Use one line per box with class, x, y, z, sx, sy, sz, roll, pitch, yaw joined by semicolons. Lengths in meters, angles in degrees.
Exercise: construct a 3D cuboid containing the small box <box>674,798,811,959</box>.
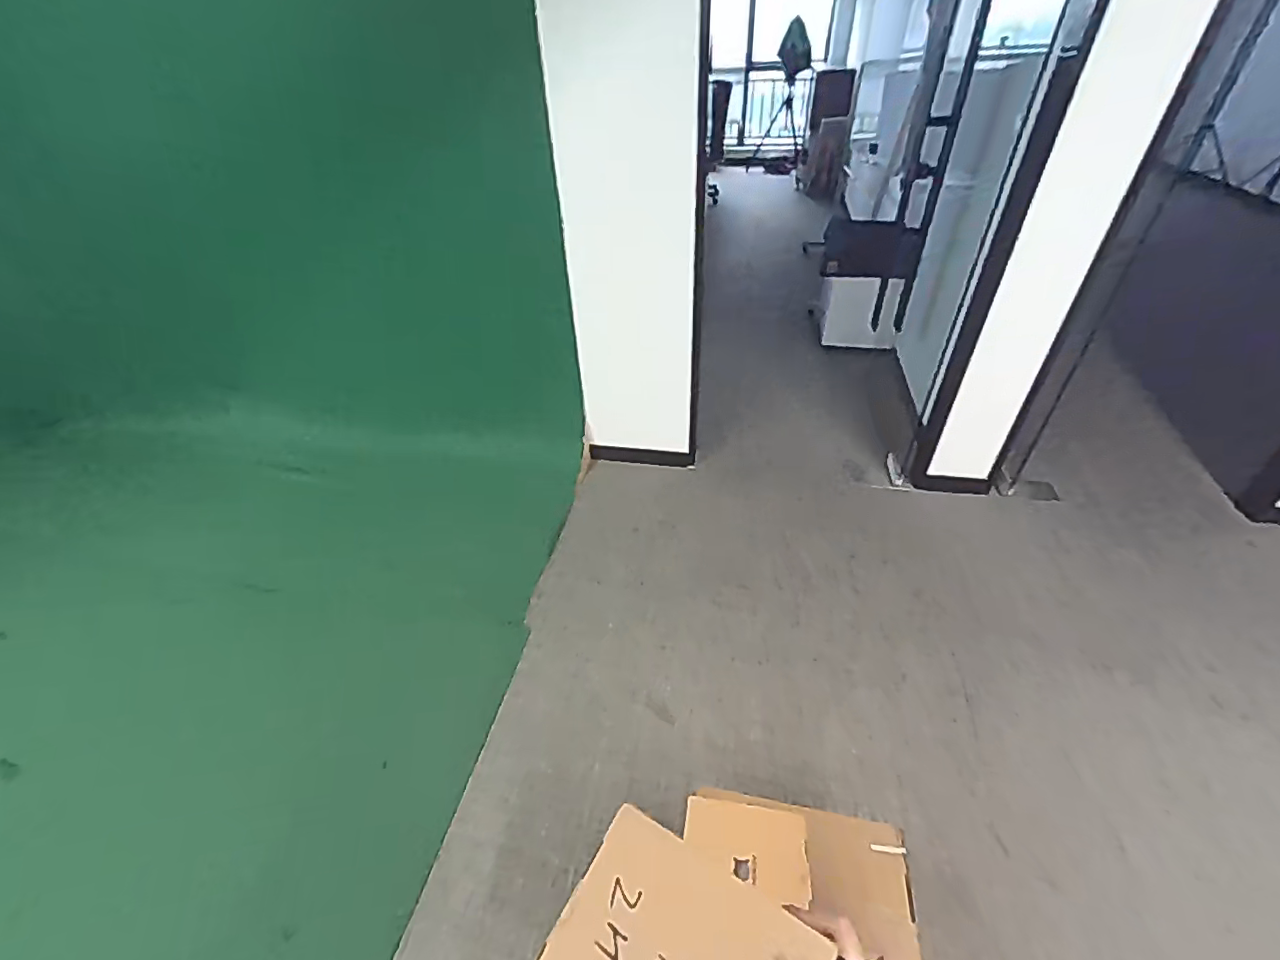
small box;0.146;0.603;0.792;0.179;0.176;0.168;5;37;9
